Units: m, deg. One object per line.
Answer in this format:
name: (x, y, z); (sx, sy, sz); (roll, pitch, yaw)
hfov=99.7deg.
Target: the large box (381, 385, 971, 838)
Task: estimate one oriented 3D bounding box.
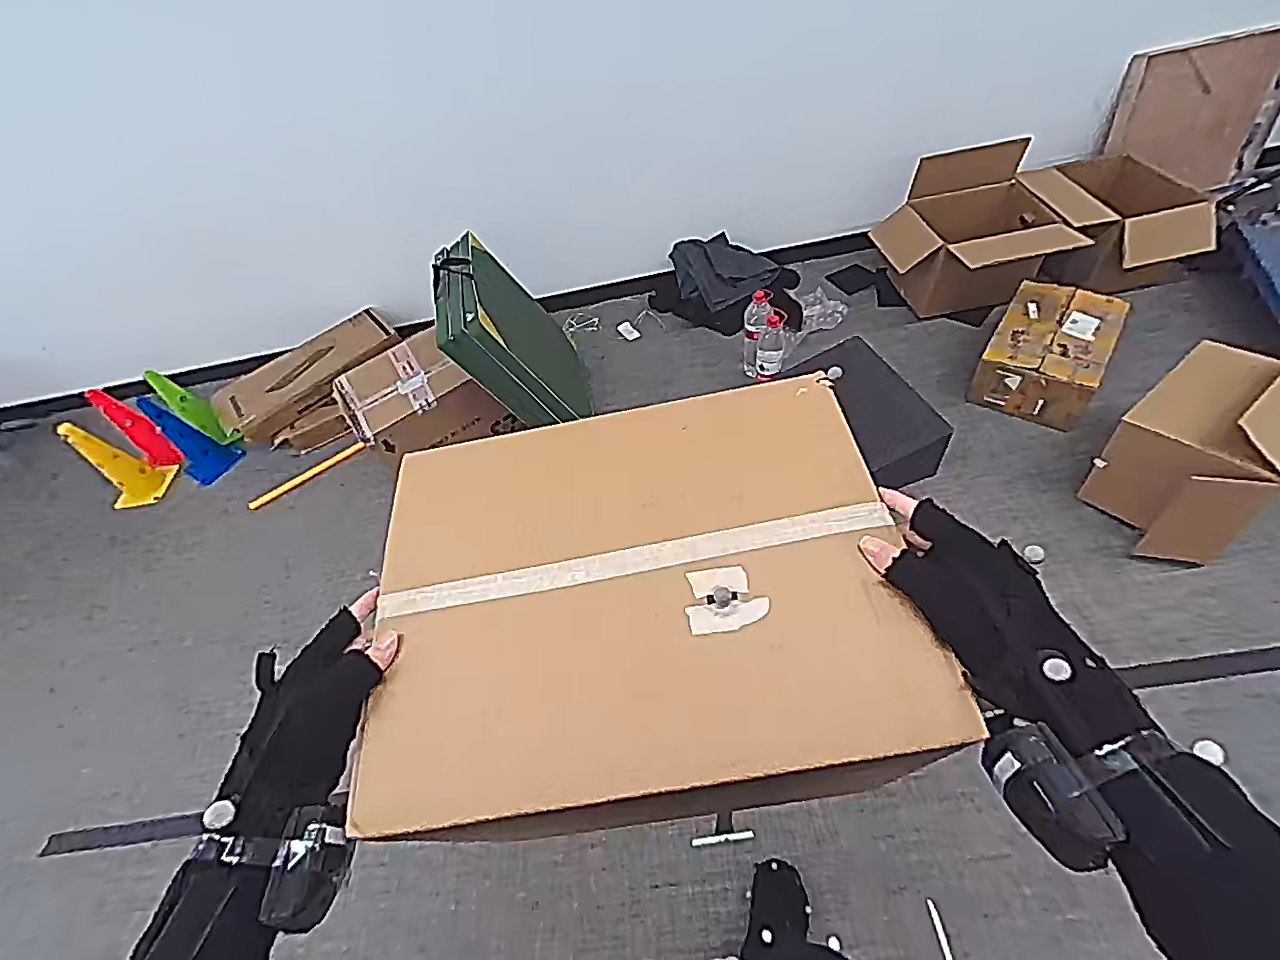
large box: (0.020, 0.153, 0.558); (0.408, 0.320, 0.320); (-11, 56, 2)
